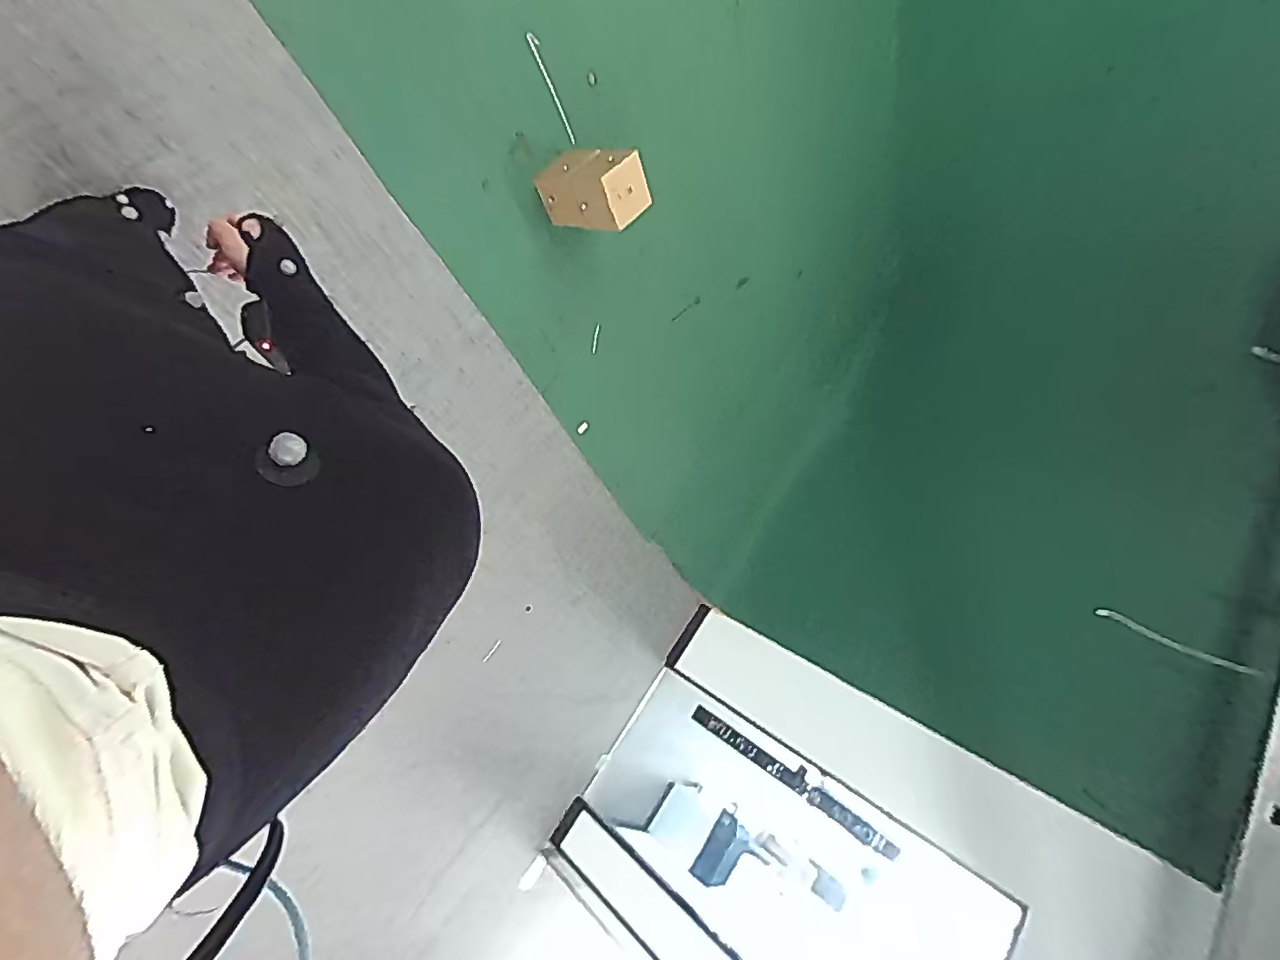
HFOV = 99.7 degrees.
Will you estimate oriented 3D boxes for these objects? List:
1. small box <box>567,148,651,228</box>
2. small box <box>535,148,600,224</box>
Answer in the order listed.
[{"bbox_3d":[-0.098,-0.923,1.707,0.179,0.176,0.168,-49,140,-21],"label":"small box"},{"bbox_3d":[-0.216,-0.982,1.804,0.179,0.176,0.168,-50,140,-19],"label":"small box"}]
